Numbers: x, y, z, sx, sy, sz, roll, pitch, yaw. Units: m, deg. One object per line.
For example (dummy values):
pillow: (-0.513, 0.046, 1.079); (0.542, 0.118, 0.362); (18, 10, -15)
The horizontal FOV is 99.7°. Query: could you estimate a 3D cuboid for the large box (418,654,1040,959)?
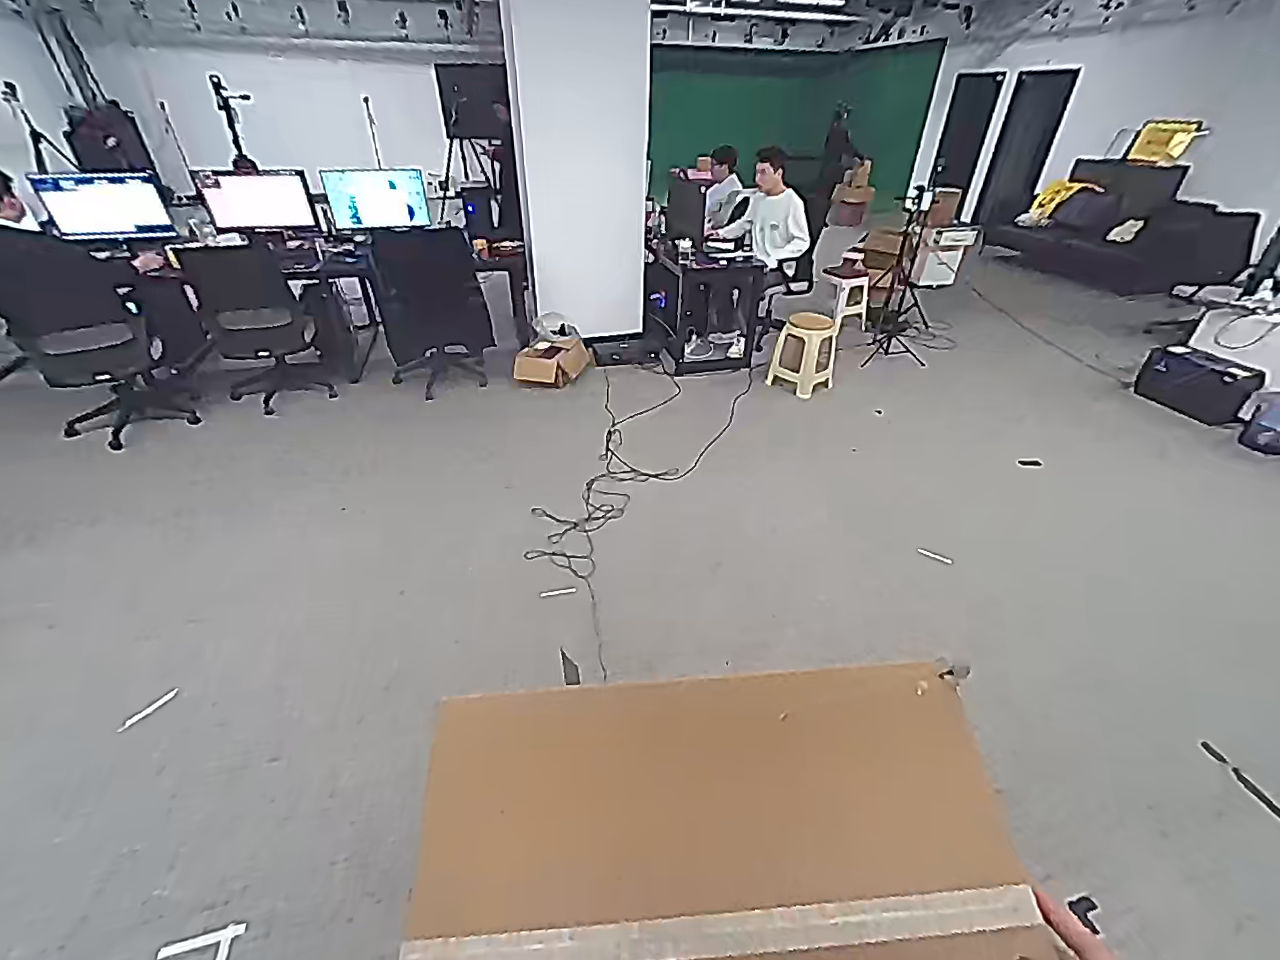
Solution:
large box: (0.054, 0.367, 0.481); (0.408, 0.320, 0.320); (-4, 58, -2)
